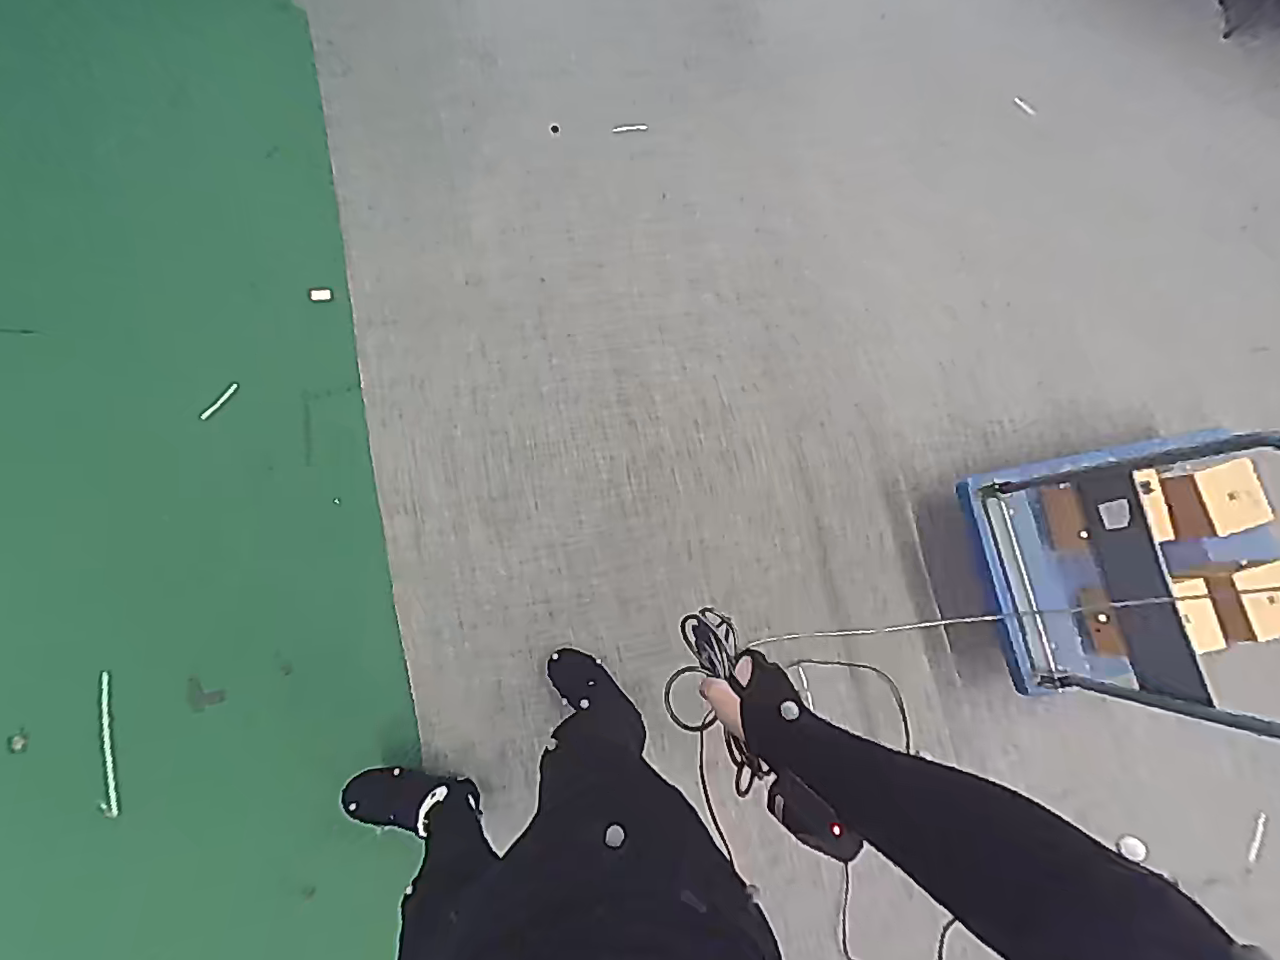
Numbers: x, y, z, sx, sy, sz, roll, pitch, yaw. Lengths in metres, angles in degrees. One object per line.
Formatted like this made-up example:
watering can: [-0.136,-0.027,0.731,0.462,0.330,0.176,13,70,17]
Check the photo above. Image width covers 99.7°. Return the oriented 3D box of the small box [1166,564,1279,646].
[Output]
small box: [1.501,0.308,1.365,0.179,0.176,0.168,-12,81,-8]

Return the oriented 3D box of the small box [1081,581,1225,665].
small box: [1.249,0.344,1.329,0.179,0.176,0.168,-9,81,-8]

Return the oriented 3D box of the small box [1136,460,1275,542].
small box: [1.446,0.060,1.400,0.179,0.176,0.168,-13,83,-9]
